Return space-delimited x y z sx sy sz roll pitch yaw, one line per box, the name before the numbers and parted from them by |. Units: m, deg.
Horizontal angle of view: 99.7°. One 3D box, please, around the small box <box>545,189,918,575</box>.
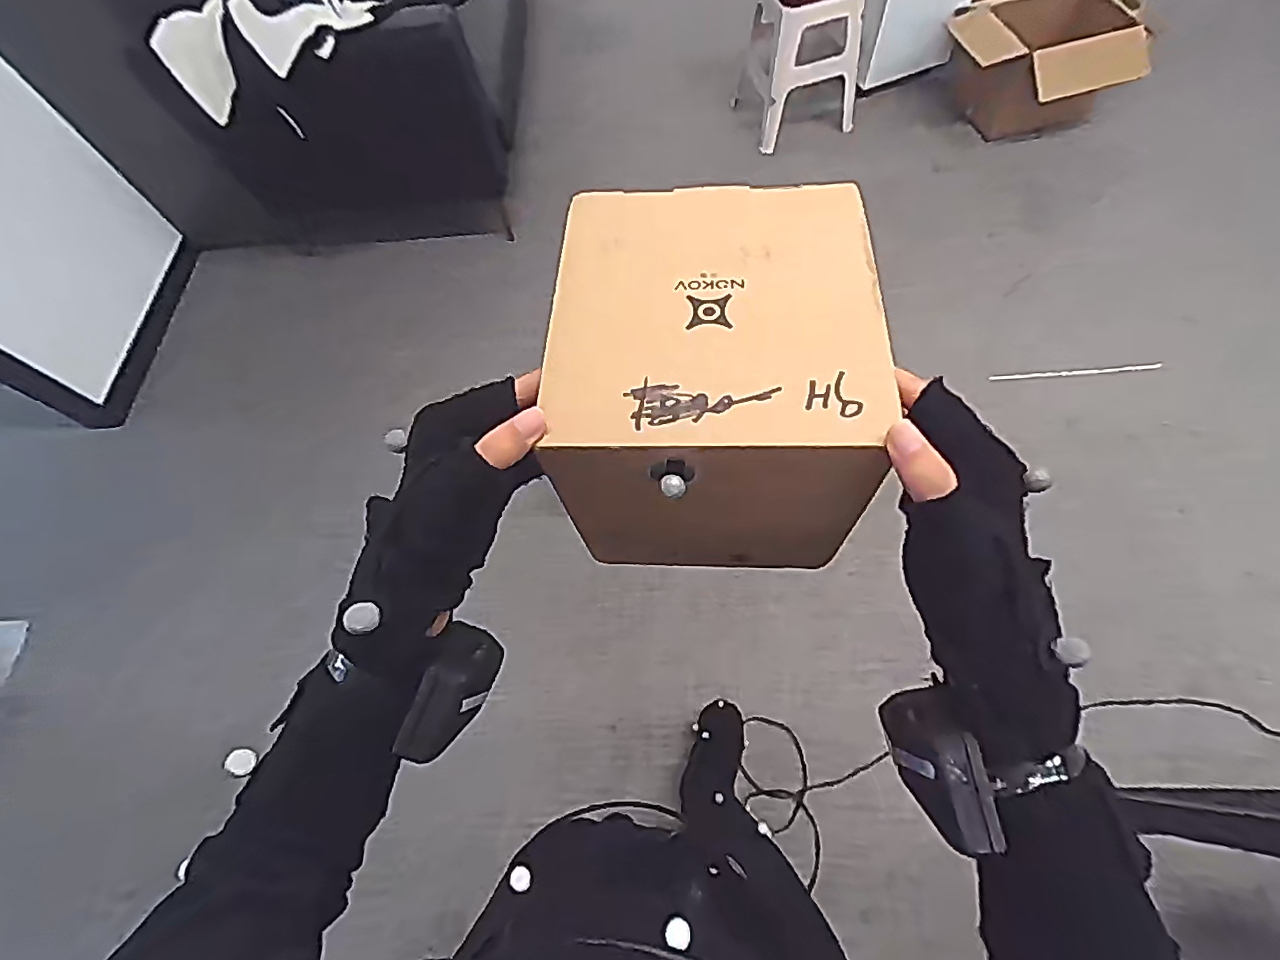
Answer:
small box | 0.050 -0.052 0.346 0.168 0.176 0.179 0 62 7
